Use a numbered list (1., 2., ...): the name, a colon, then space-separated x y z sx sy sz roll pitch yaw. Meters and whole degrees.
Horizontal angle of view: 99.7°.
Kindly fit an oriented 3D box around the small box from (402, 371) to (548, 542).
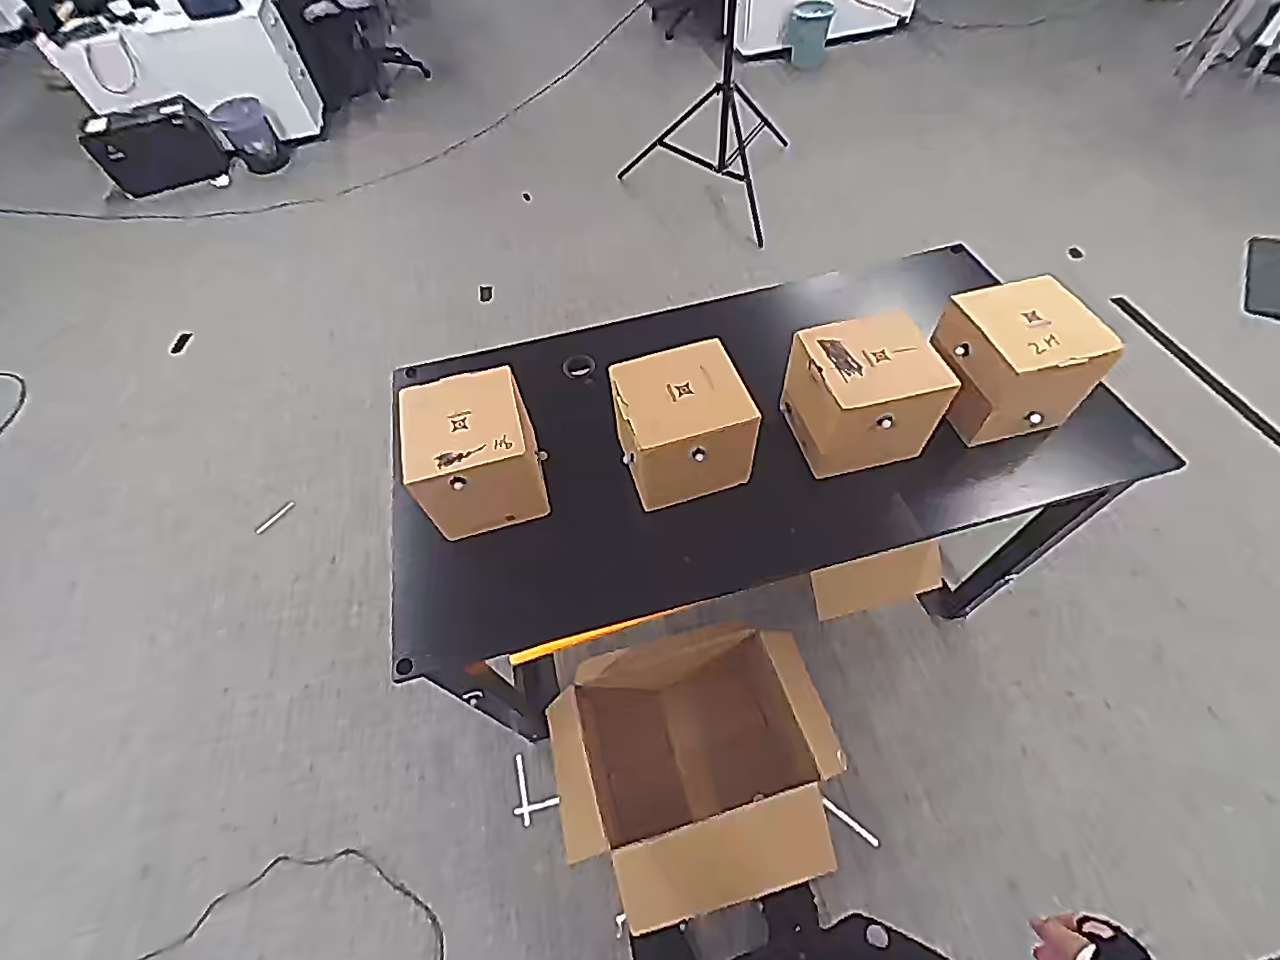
1. small box: -0.246 -0.032 0.824 0.168 0.176 0.179 -15 56 -5

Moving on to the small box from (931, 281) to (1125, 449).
1. small box: 0.576 -0.177 0.850 0.168 0.176 0.179 -13 56 -2

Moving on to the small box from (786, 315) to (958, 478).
1. small box: 0.337 -0.122 0.835 0.179 0.176 0.168 -12 56 -4

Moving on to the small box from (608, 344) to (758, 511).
1. small box: 0.062 -0.074 0.829 0.179 0.176 0.168 -16 58 -7
